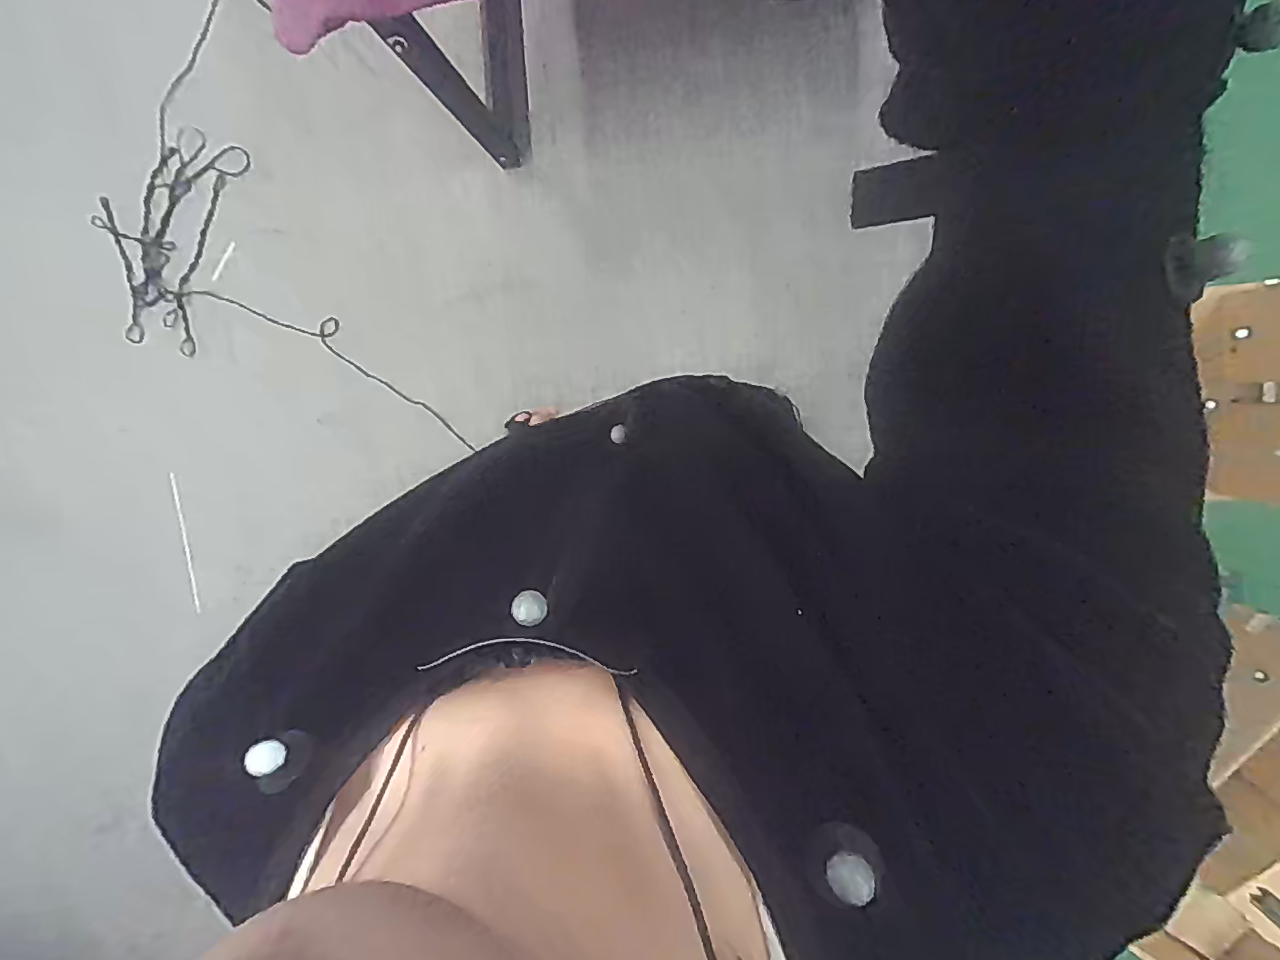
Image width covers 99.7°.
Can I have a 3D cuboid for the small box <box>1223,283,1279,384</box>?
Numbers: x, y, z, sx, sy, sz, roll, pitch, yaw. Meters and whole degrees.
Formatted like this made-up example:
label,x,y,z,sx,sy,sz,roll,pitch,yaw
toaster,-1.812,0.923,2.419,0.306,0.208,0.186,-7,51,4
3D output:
label,x,y,z,sx,sy,sz,roll,pitch,yaw
small box,1.144,-0.255,0.898,0.179,0.176,0.168,-7,96,10
